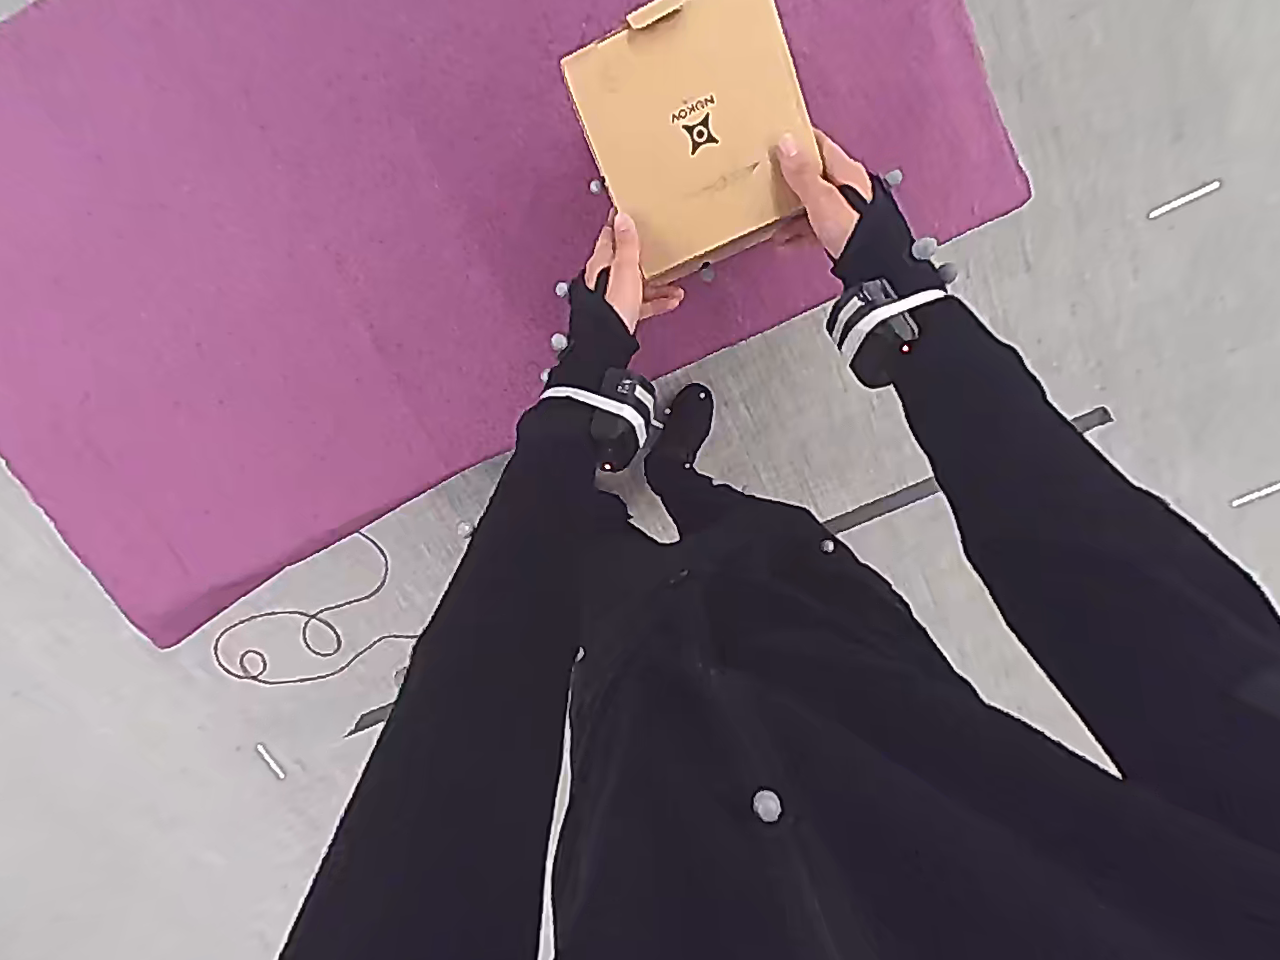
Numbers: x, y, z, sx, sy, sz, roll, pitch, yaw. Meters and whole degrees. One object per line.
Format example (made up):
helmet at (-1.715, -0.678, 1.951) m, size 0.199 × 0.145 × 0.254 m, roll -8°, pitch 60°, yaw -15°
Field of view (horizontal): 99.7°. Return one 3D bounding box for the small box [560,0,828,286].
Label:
small box at (0.045, -0.296, 0.495) m, size 0.168 × 0.176 × 0.179 m, roll -21°, pitch 104°, yaw 8°
